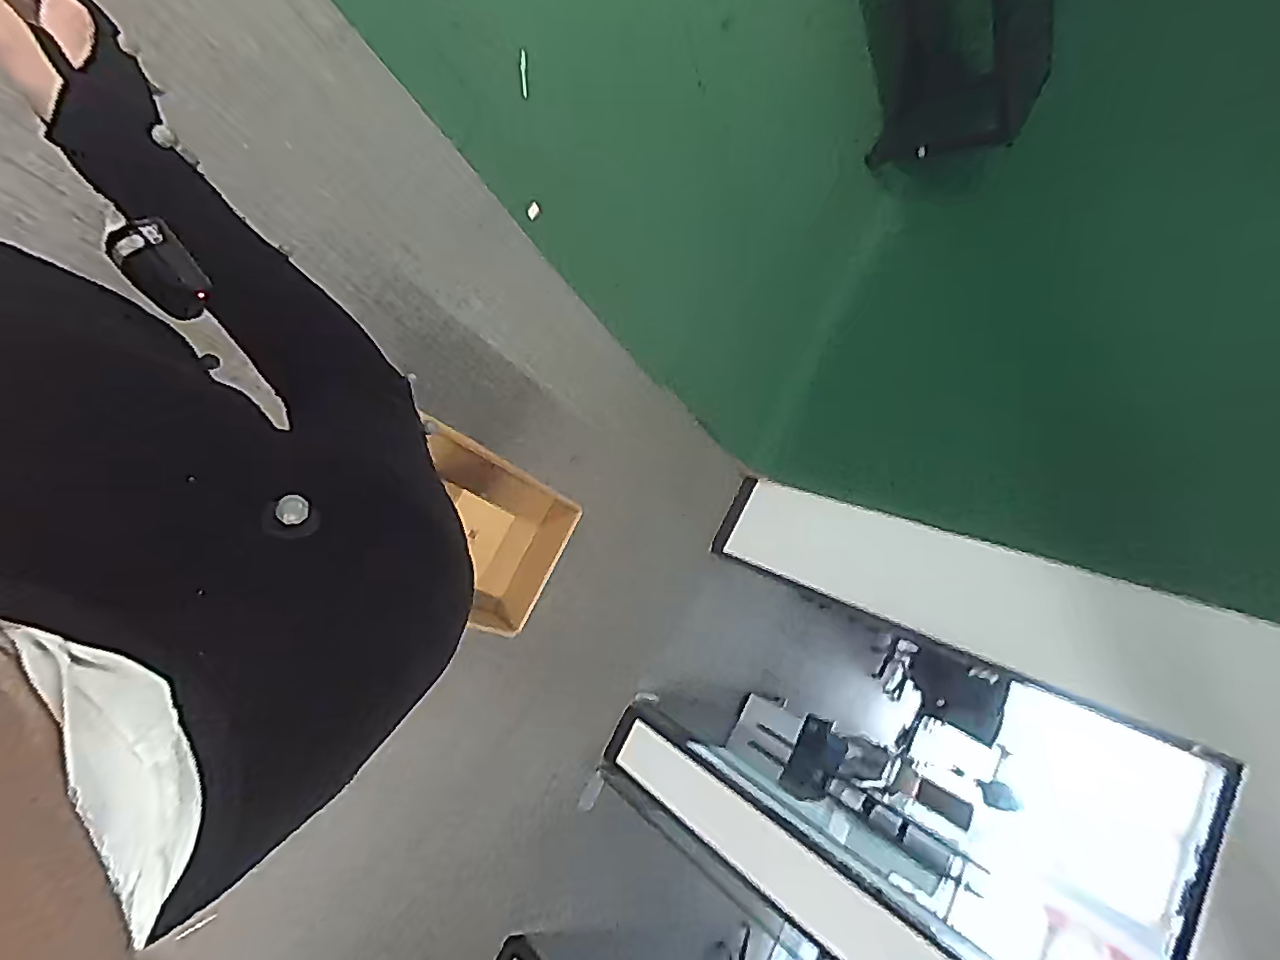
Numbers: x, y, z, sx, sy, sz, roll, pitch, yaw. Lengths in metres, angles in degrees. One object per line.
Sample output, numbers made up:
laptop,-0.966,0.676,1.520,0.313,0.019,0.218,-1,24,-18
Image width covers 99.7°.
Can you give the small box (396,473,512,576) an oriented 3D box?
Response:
small box,-0.449,0.102,1.294,0.168,0.176,0.179,37,77,-48
